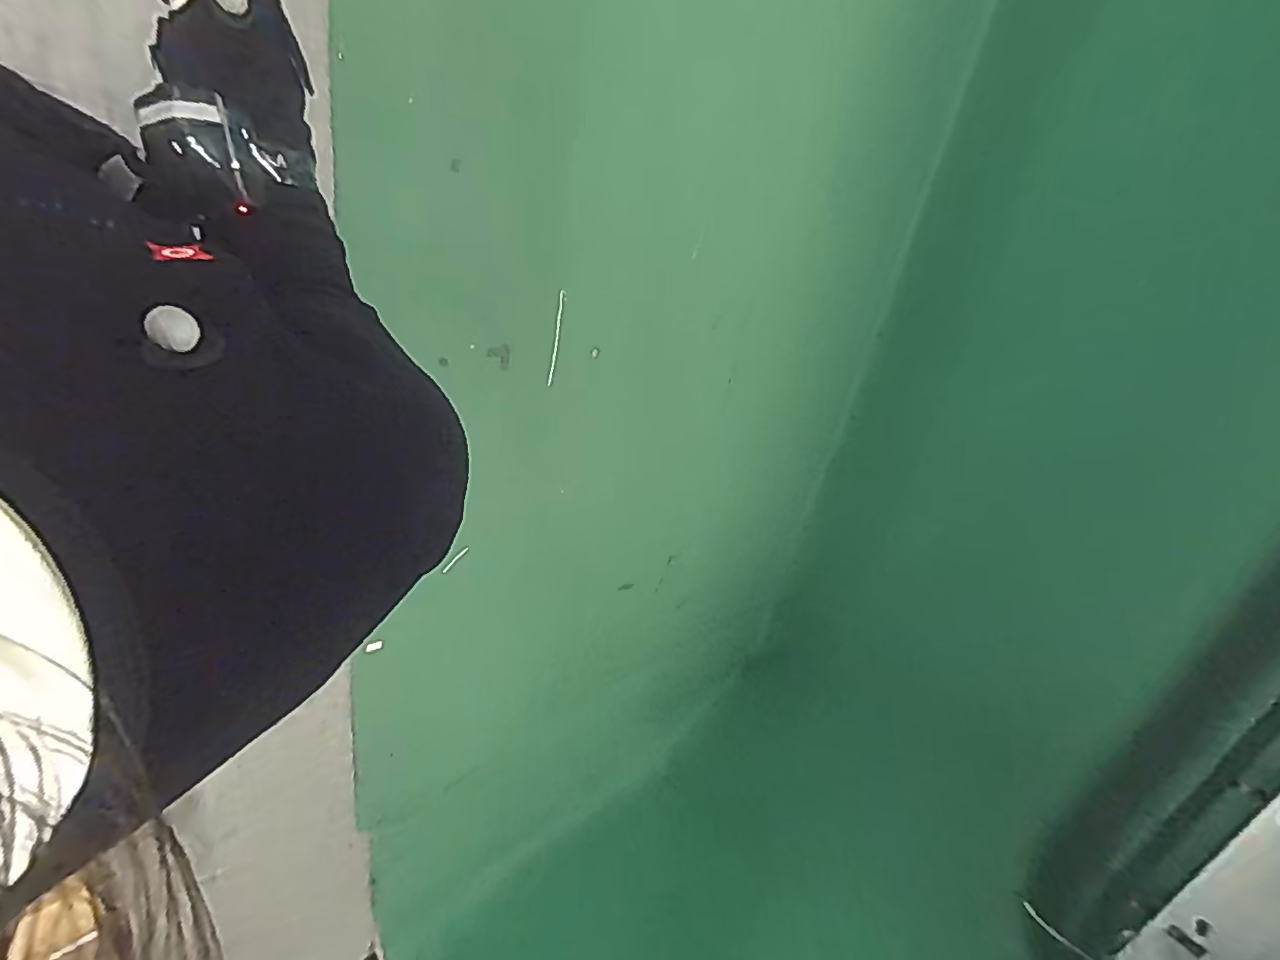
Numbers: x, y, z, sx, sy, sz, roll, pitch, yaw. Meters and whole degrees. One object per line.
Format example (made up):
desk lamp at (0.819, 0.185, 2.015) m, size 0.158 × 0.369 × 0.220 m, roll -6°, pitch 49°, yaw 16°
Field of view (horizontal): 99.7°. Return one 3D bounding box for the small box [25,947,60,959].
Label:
small box at (-1.258, 1.093, 1.057) m, size 0.179 × 0.176 × 0.168 m, roll -7°, pitch 115°, yaw -47°
